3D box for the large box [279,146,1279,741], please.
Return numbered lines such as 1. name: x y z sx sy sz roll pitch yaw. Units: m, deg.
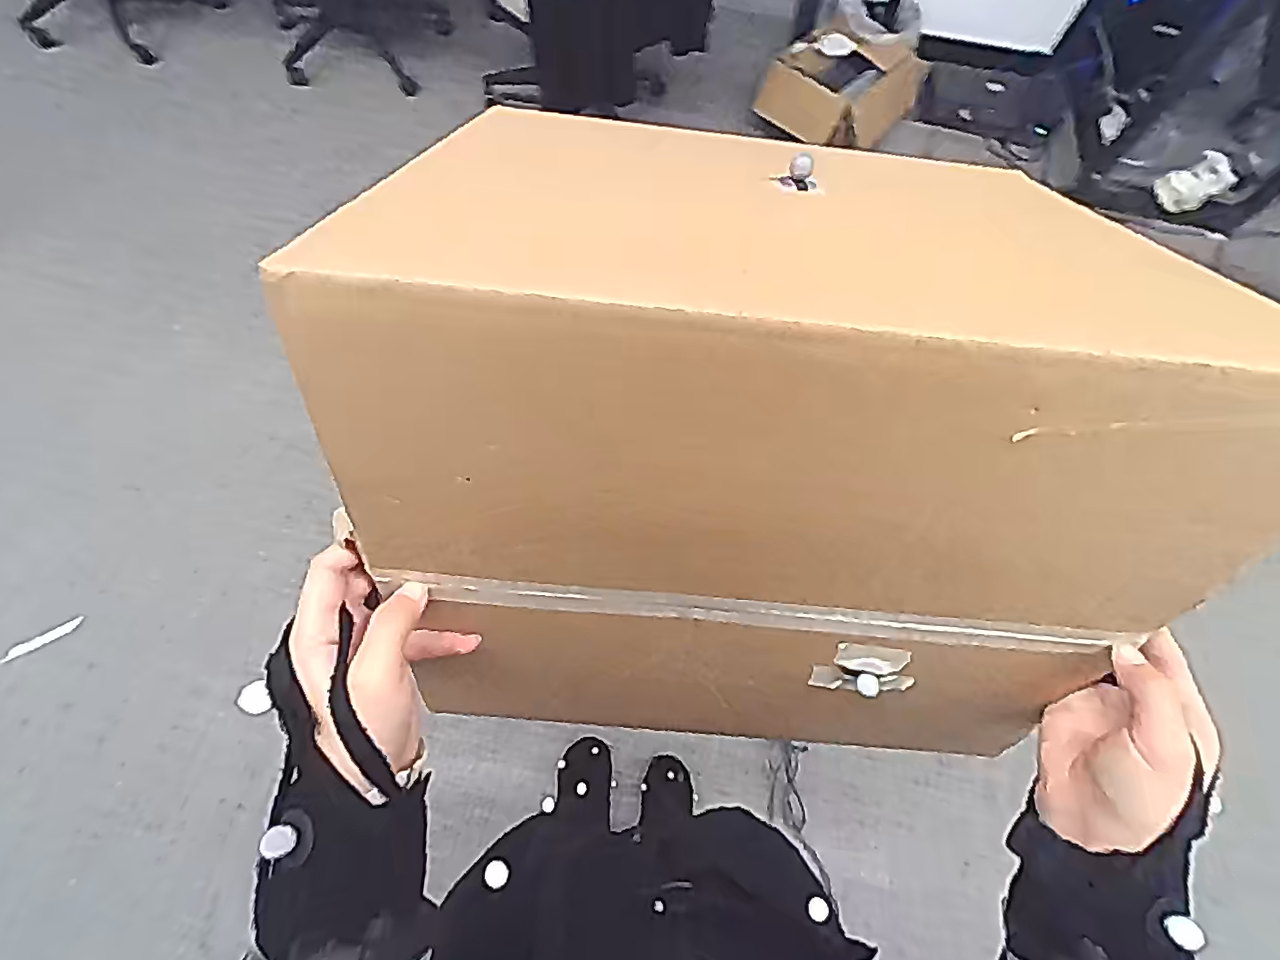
1. large box: 0.061 -0.032 0.402 0.408 0.320 0.320 4 43 -2
